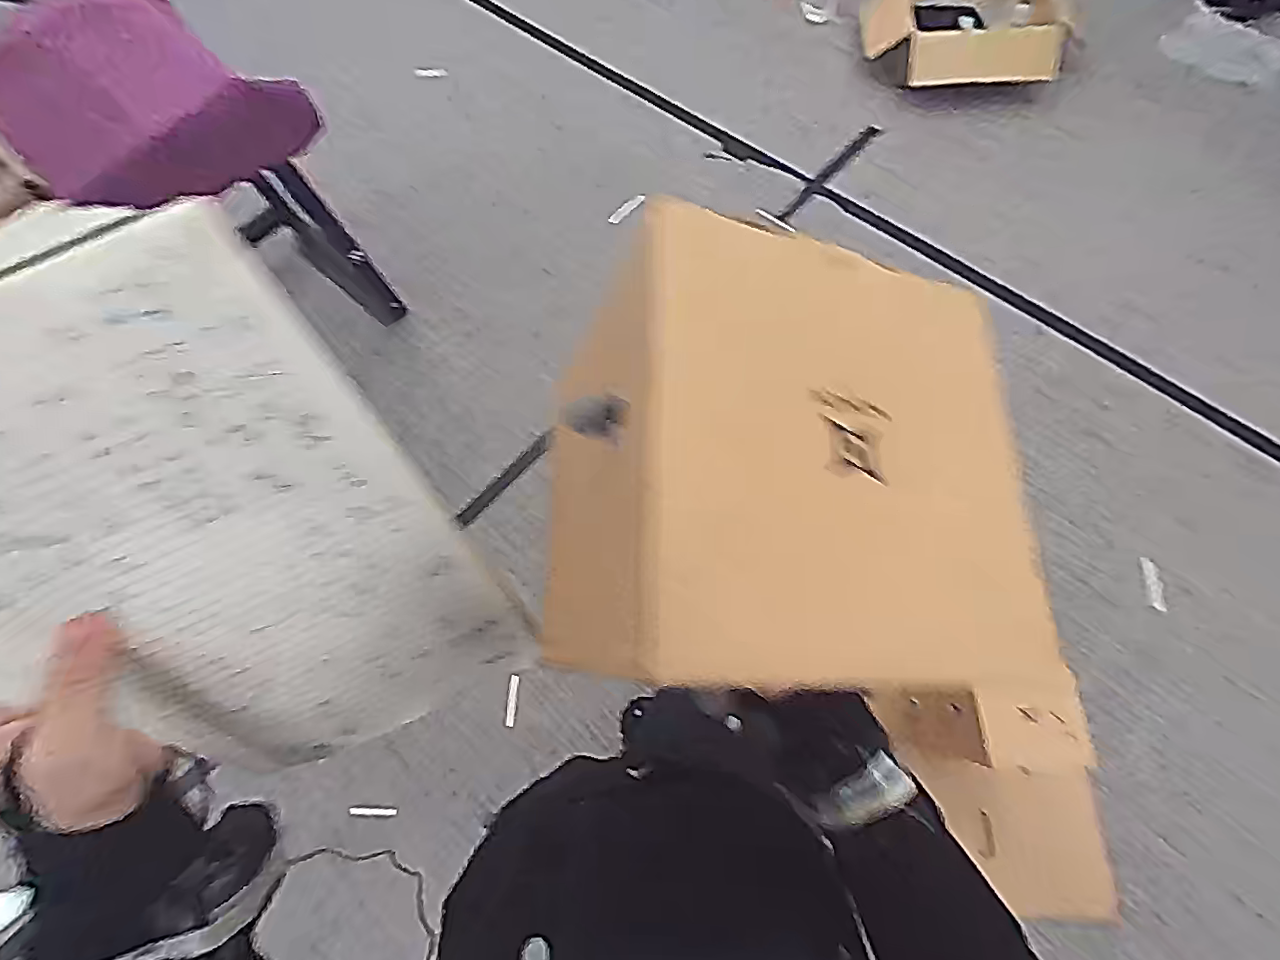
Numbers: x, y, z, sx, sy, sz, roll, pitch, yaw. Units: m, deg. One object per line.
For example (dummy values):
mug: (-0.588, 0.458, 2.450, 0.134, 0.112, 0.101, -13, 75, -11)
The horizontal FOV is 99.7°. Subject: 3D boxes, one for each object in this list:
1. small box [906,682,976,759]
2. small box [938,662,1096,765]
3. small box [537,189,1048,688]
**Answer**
small box: (0.705, 0.496, 1.168, 0.179, 0.176, 0.168, -5, 71, 4)
small box: (0.688, 0.432, 1.017, 0.179, 0.176, 0.168, -3, 72, 3)
small box: (0.045, 0.005, 0.271, 0.168, 0.176, 0.179, 6, 70, -19)
